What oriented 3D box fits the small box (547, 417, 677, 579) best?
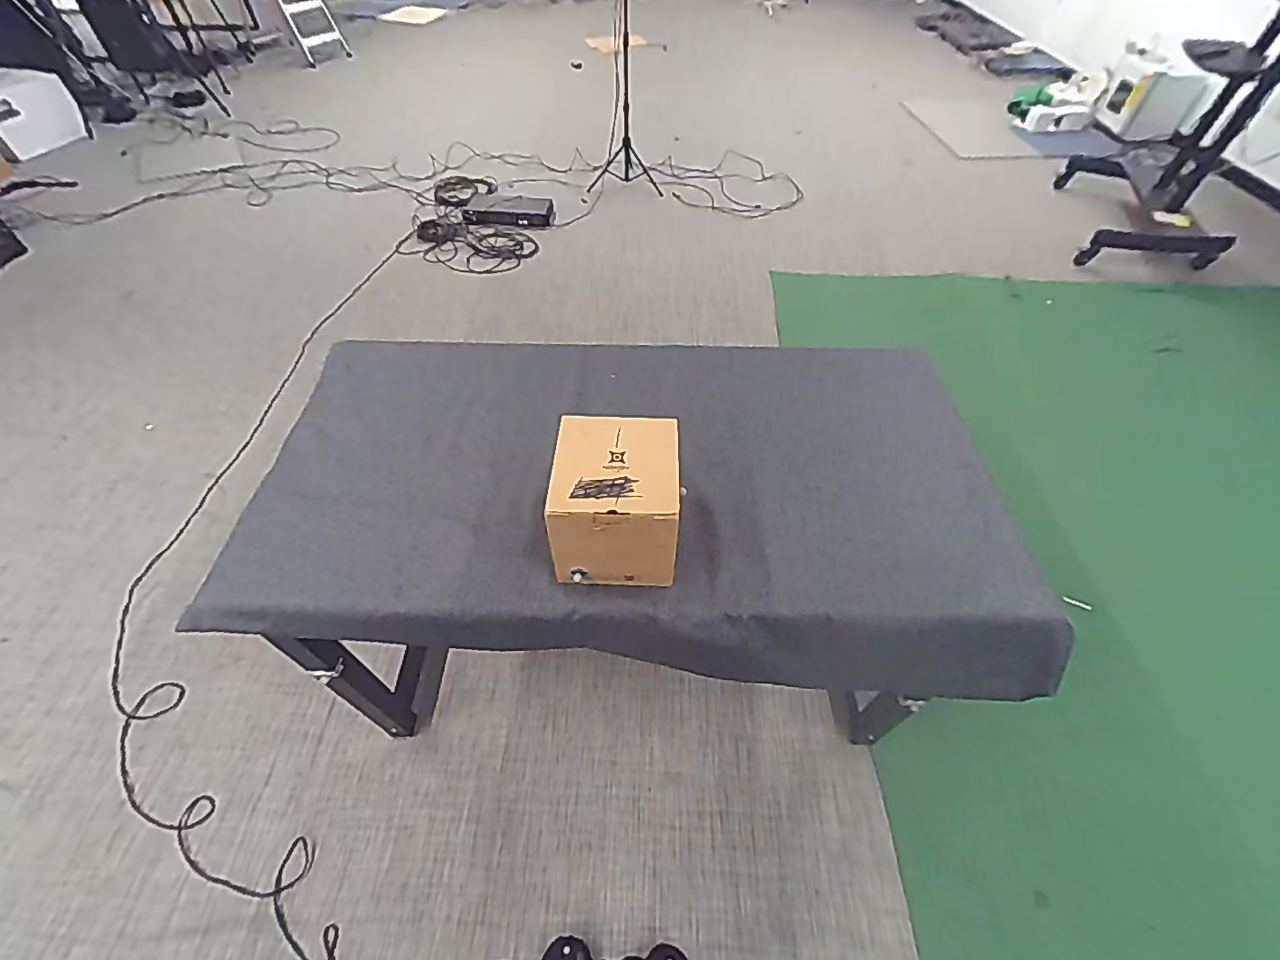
[{"bbox_3d":[-0.032,0.030,0.787,0.168,0.176,0.179,2,49,1],"label":"small box"}]
